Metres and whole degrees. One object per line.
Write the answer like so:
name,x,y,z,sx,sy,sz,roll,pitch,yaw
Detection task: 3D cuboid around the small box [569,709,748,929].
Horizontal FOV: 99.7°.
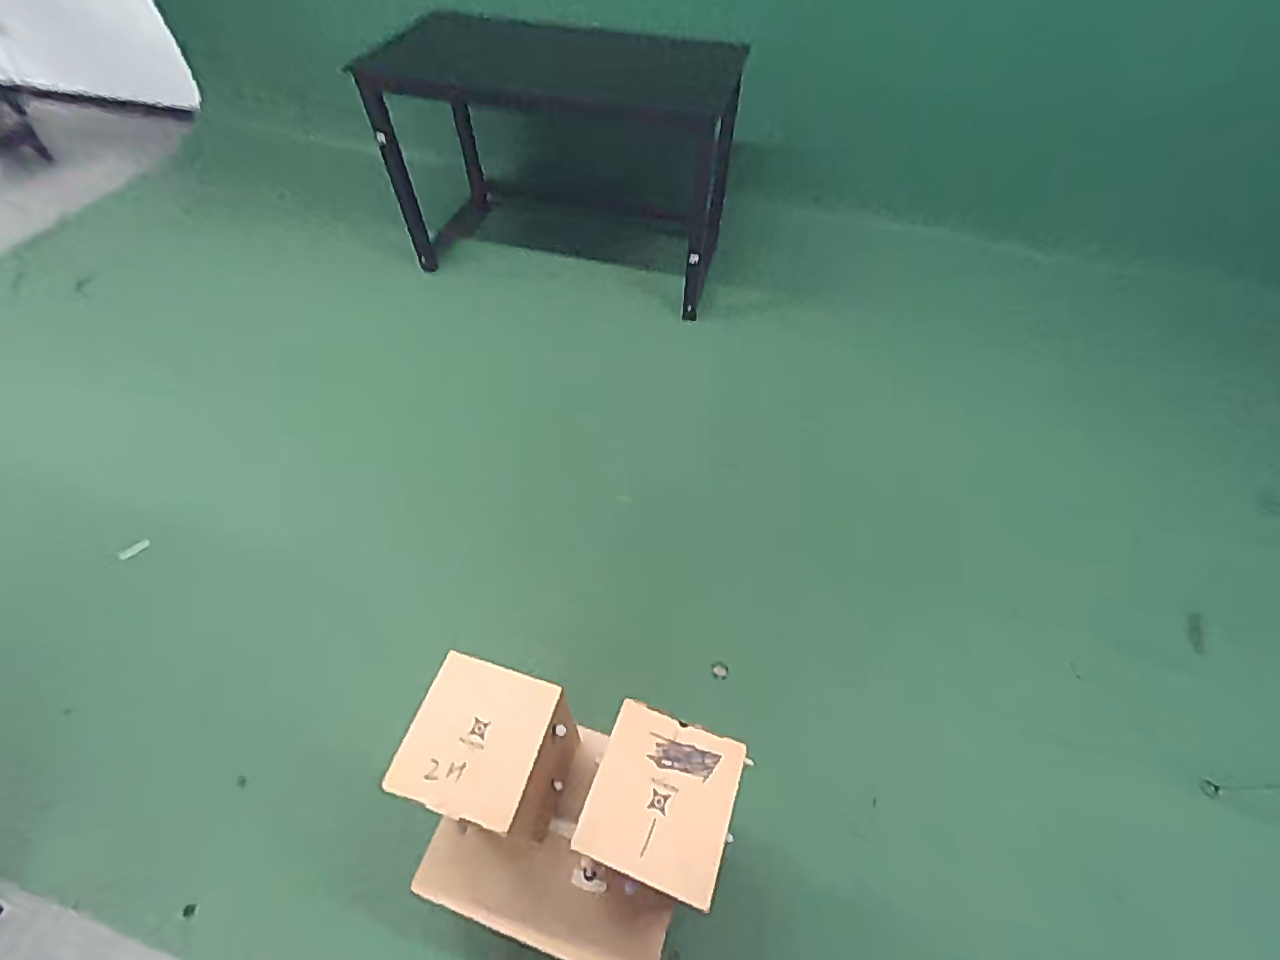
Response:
small box,0.026,0.426,0.687,0.168,0.176,0.179,16,55,13

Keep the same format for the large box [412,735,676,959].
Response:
large box,-0.127,0.683,1.006,0.408,0.320,0.320,15,55,10

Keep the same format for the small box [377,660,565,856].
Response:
small box,-0.208,0.375,0.727,0.168,0.176,0.179,15,54,10

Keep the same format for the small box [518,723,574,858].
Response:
small box,-0.211,0.472,0.861,0.168,0.176,0.179,15,54,10
